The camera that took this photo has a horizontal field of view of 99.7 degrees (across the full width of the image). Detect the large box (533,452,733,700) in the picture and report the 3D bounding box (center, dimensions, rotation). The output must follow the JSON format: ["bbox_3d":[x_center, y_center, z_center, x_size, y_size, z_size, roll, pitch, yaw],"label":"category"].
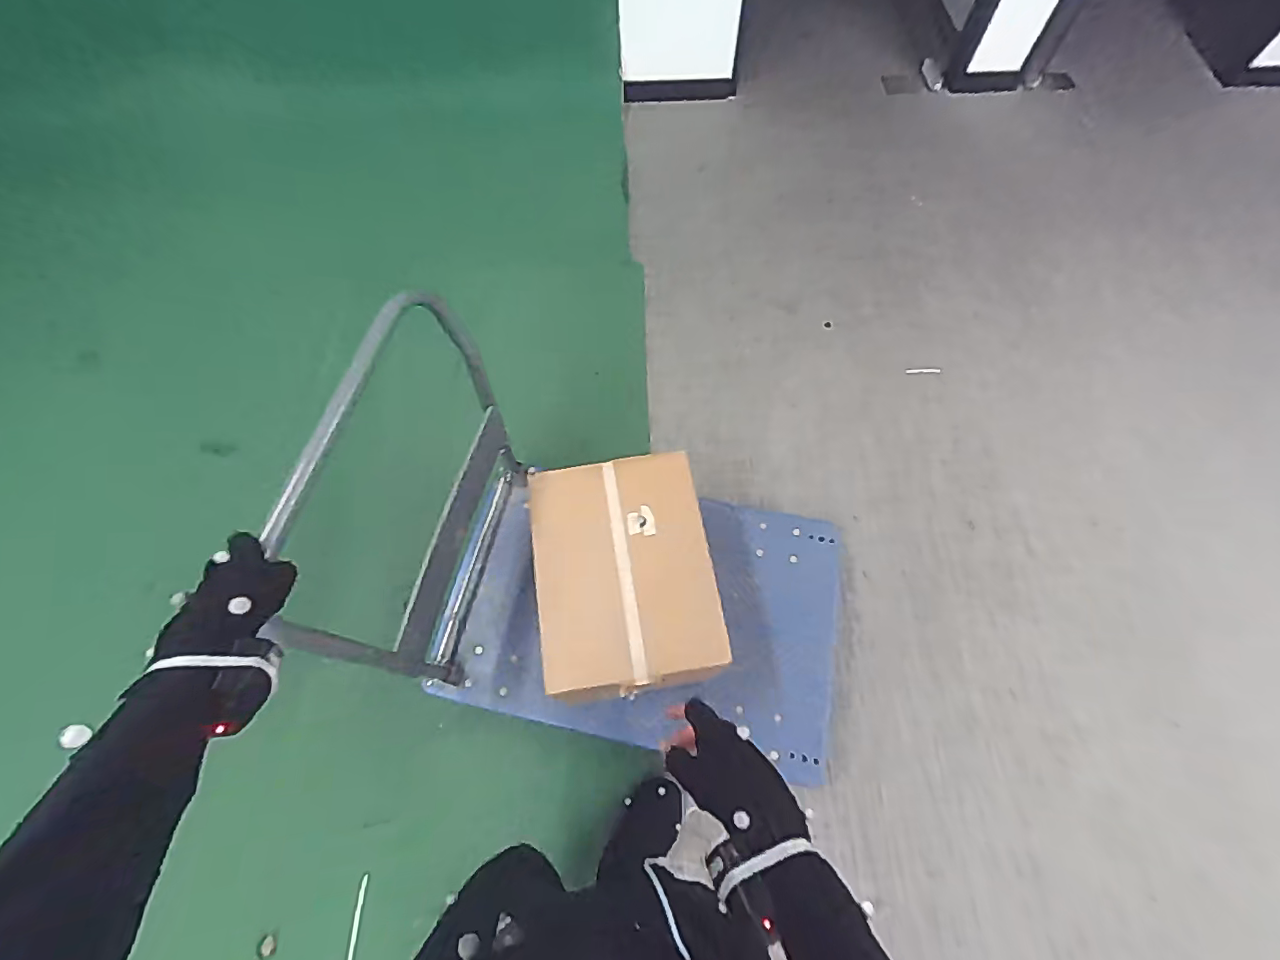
[{"bbox_3d":[-0.020,0.208,1.113,0.320,0.320,0.408,-9,65,-3],"label":"large box"}]
